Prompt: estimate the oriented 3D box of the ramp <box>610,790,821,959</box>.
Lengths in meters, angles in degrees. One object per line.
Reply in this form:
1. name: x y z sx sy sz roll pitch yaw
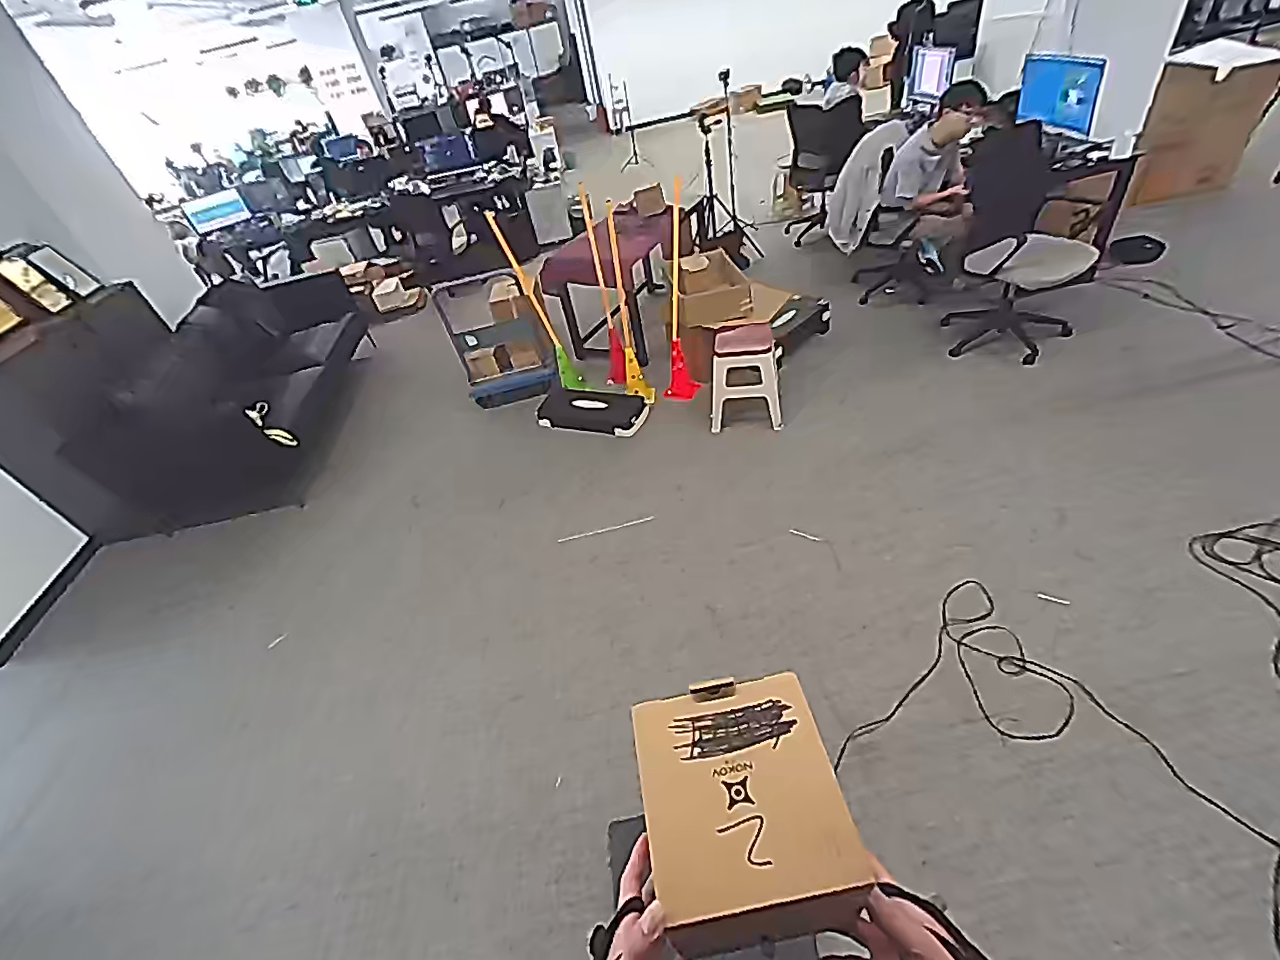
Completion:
1. ramp: 0.200 1.236 1.204 0.509 0.206 0.991 -15 40 -1
